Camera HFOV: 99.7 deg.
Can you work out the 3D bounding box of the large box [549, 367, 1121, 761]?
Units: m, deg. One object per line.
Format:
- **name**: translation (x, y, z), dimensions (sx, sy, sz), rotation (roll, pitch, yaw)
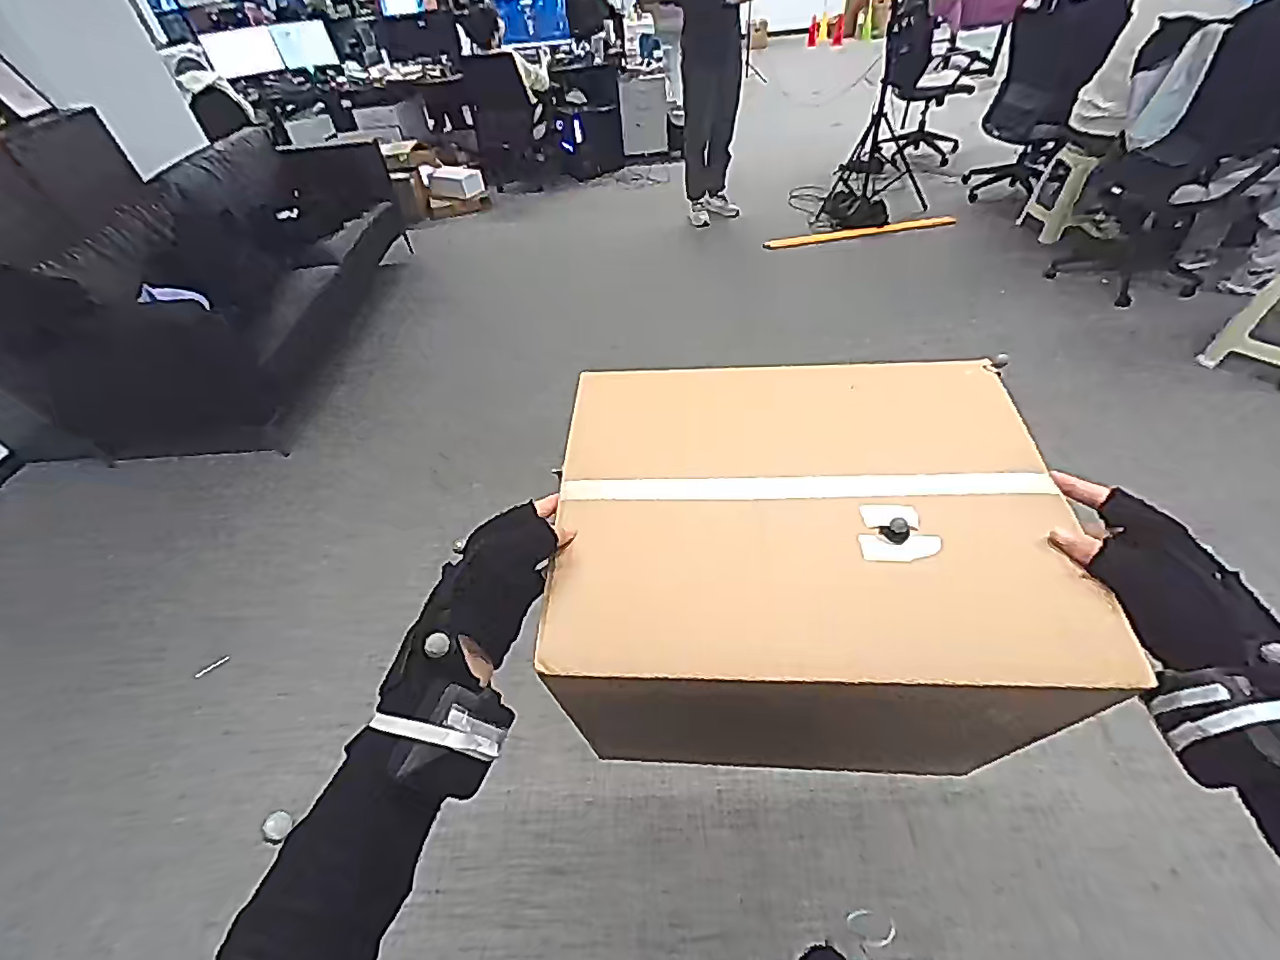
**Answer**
- **large box**: translation (0.144, 0.104, 0.585), dimensions (0.408, 0.320, 0.320), rotation (-1, 53, 6)
